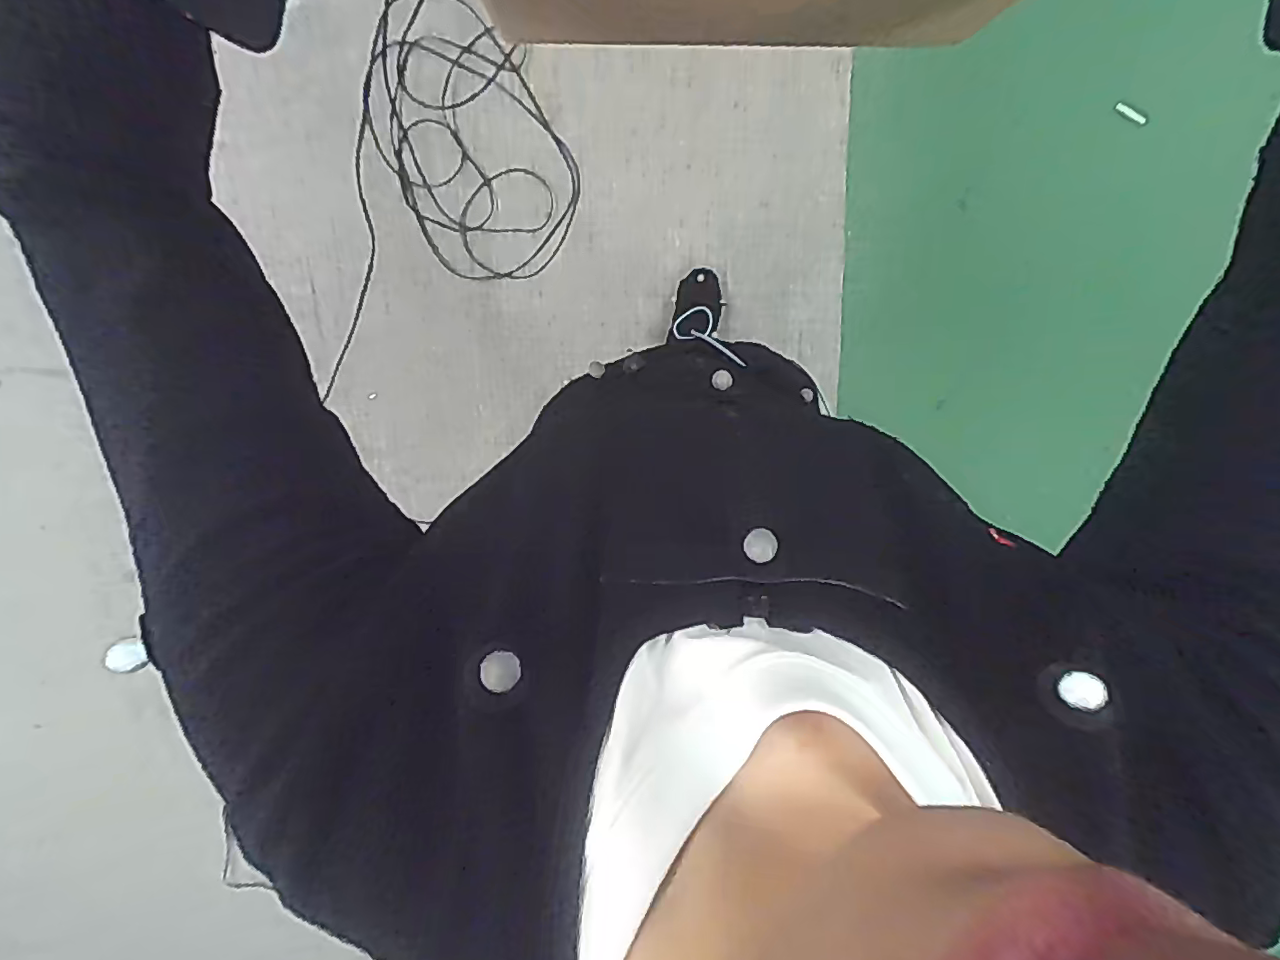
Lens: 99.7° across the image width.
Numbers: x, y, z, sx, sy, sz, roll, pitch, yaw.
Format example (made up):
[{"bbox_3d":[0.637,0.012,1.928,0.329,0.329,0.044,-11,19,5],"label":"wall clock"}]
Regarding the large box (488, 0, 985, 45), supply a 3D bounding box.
[{"bbox_3d":[0.078,-0.487,0.293,0.408,0.320,0.320,-1,110,-2],"label":"large box"}]
